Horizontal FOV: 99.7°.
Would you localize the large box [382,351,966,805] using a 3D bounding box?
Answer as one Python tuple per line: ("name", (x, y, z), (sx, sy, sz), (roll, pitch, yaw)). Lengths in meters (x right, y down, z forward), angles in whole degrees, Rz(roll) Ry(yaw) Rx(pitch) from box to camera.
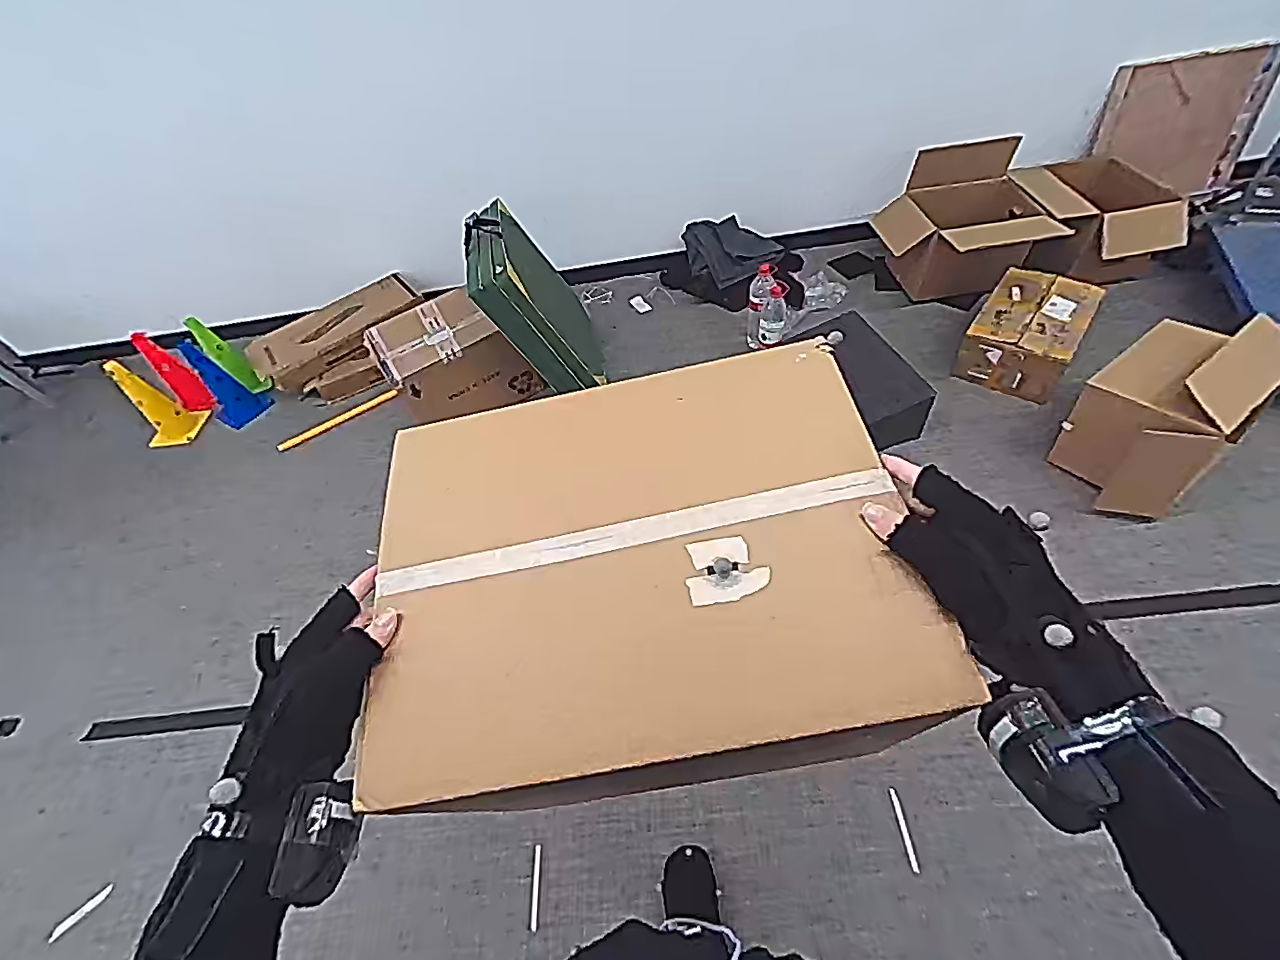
("large box", (0.017, 0.123, 0.559), (0.408, 0.320, 0.320), (-12, 58, 3))
